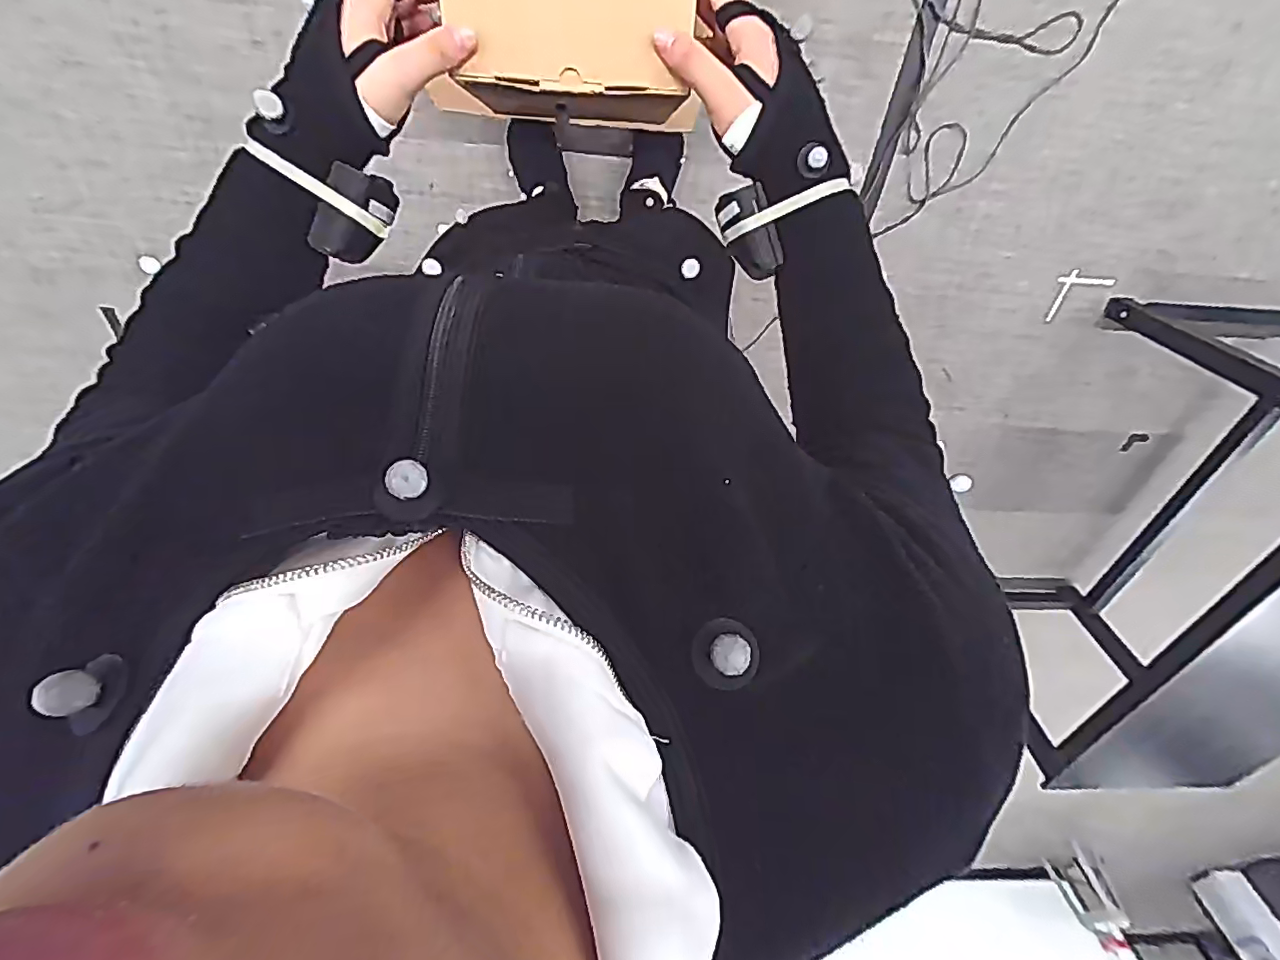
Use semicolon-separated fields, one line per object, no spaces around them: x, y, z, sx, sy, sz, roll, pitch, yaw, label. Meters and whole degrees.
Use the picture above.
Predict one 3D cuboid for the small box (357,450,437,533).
-0.703;0.033;1.587;0.168;0.176;0.179;3;125;-8;small box
